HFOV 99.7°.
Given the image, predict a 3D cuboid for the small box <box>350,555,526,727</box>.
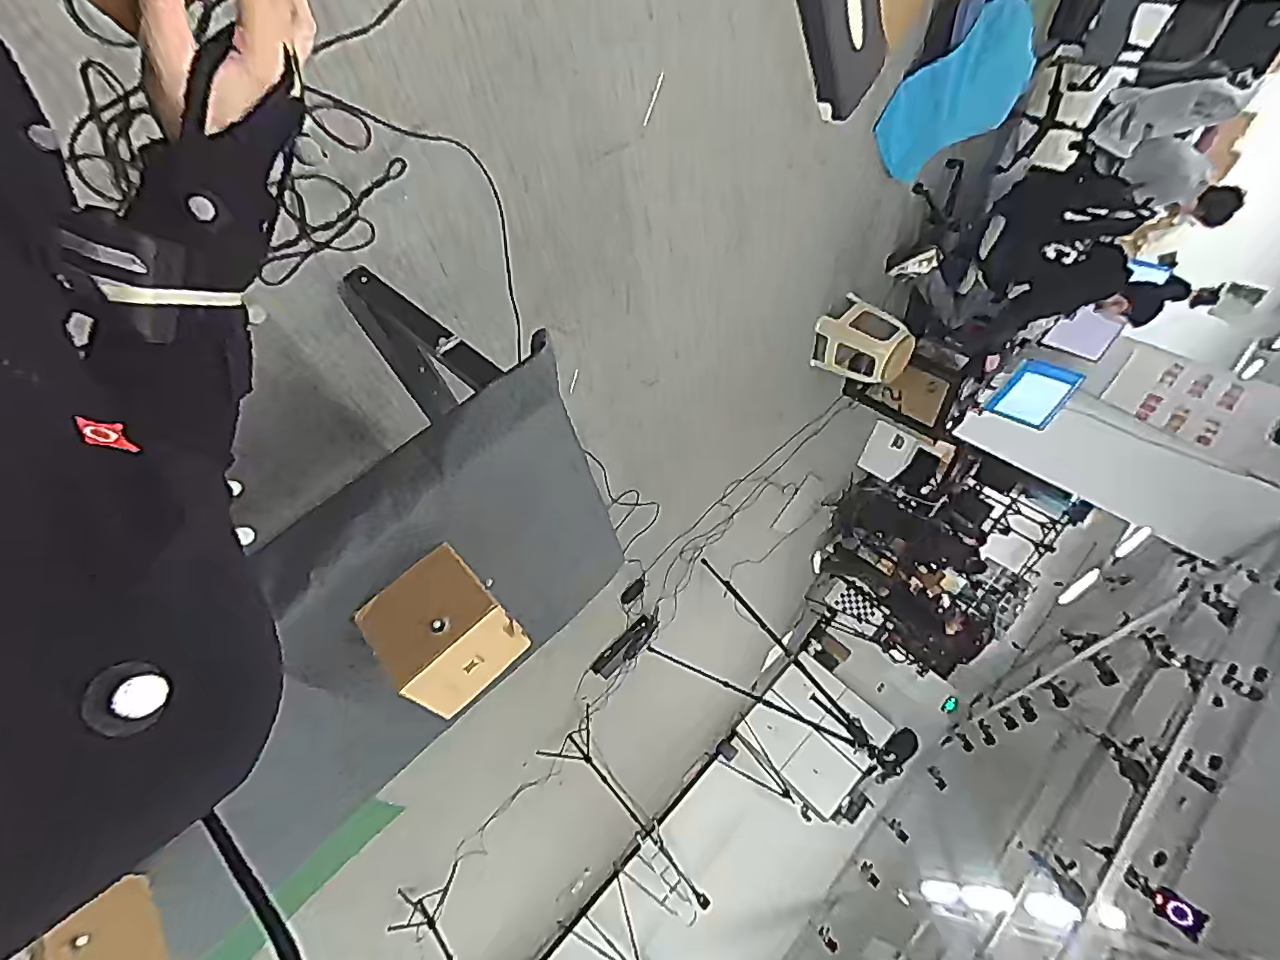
[{"bbox_3d":[-0.321,0.253,0.868,0.179,0.176,0.168,-41,147,-19],"label":"small box"}]
